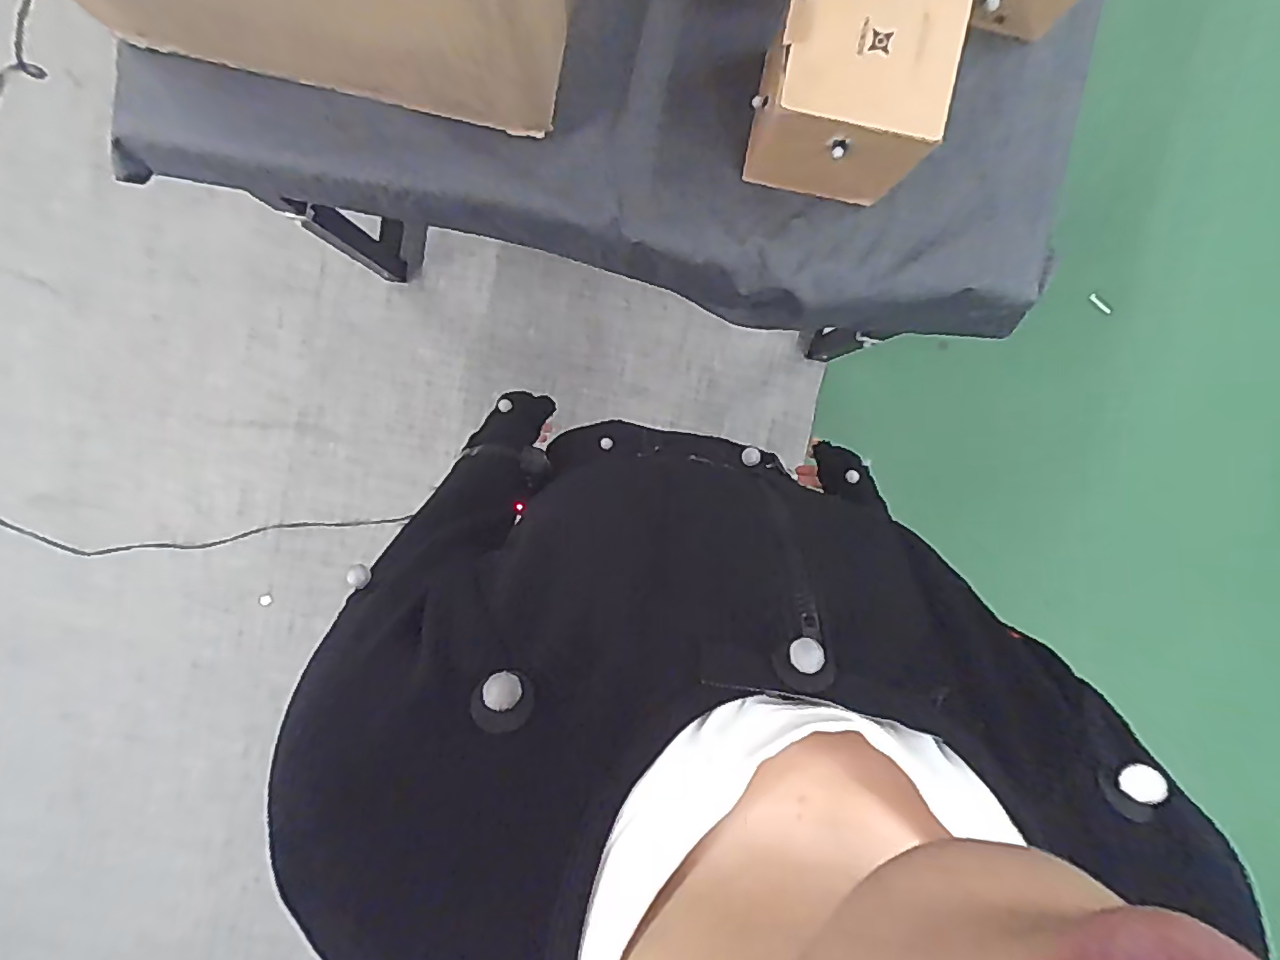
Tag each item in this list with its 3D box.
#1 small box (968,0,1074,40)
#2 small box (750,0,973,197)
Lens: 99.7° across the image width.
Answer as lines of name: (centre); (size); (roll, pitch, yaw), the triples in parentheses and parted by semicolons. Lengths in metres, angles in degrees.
small box: (0.454, -0.664, 0.613); (0.168, 0.176, 0.179); (13, 95, -2)
small box: (0.240, -0.455, 0.627); (0.179, 0.176, 0.168); (10, 96, -3)
